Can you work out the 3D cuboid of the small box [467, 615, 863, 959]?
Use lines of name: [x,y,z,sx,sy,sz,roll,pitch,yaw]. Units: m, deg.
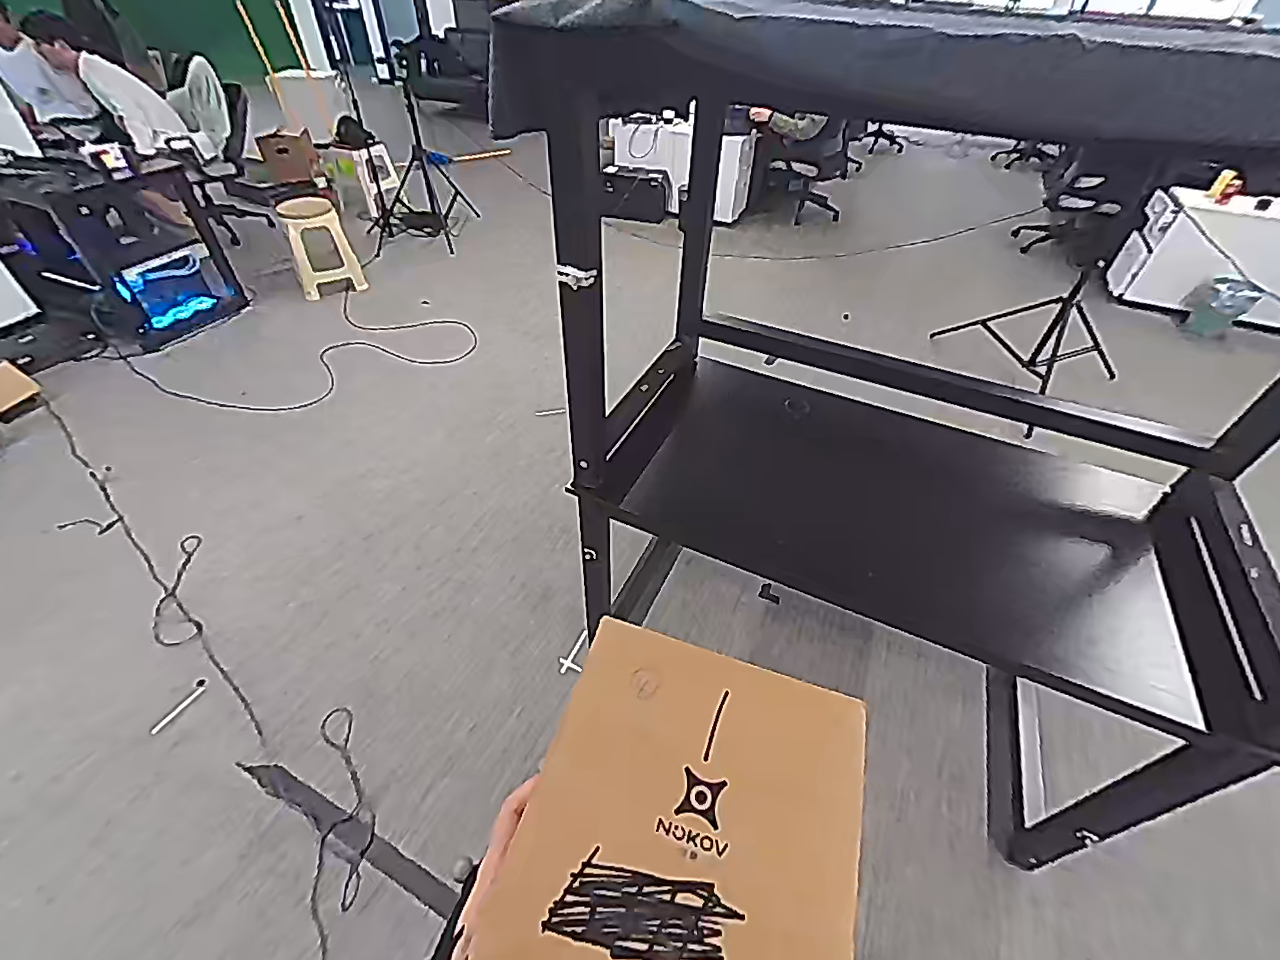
small box: [0.023,0.220,0.337,0.168,0.176,0.179,16,50,9]
